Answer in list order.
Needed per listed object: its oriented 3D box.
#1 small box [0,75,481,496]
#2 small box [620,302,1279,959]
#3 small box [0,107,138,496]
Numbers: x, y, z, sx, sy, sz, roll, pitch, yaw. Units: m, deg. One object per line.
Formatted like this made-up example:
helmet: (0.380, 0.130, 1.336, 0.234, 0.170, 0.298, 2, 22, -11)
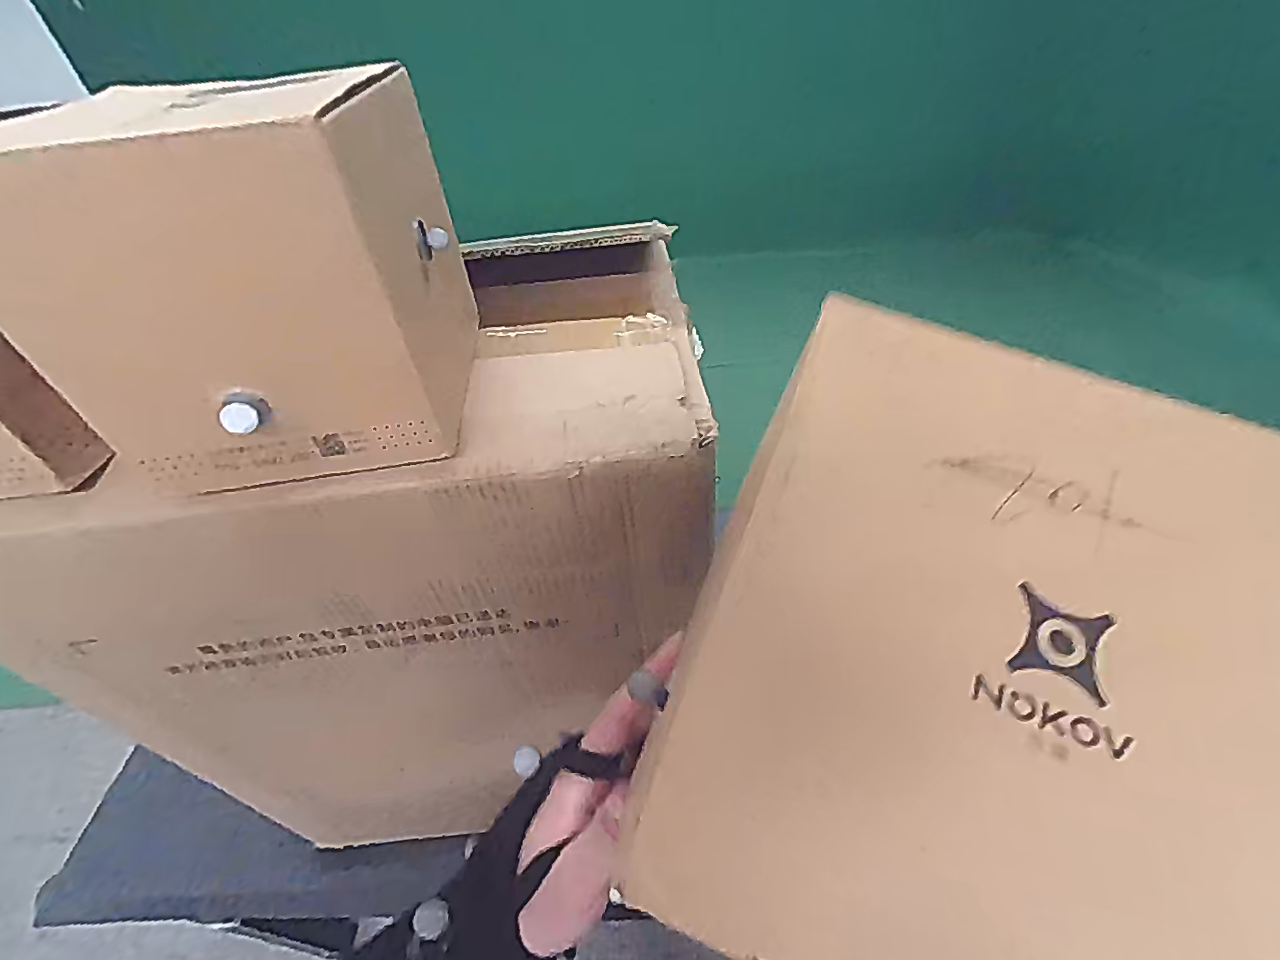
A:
small box: (-0.199, -0.115, 0.315, 0.168, 0.176, 0.179, -8, 44, -3)
small box: (0.102, 0.073, 0.211, 0.168, 0.176, 0.179, 21, 69, 6)
small box: (-0.413, -0.100, 0.326, 0.168, 0.176, 0.179, -5, 43, 2)
